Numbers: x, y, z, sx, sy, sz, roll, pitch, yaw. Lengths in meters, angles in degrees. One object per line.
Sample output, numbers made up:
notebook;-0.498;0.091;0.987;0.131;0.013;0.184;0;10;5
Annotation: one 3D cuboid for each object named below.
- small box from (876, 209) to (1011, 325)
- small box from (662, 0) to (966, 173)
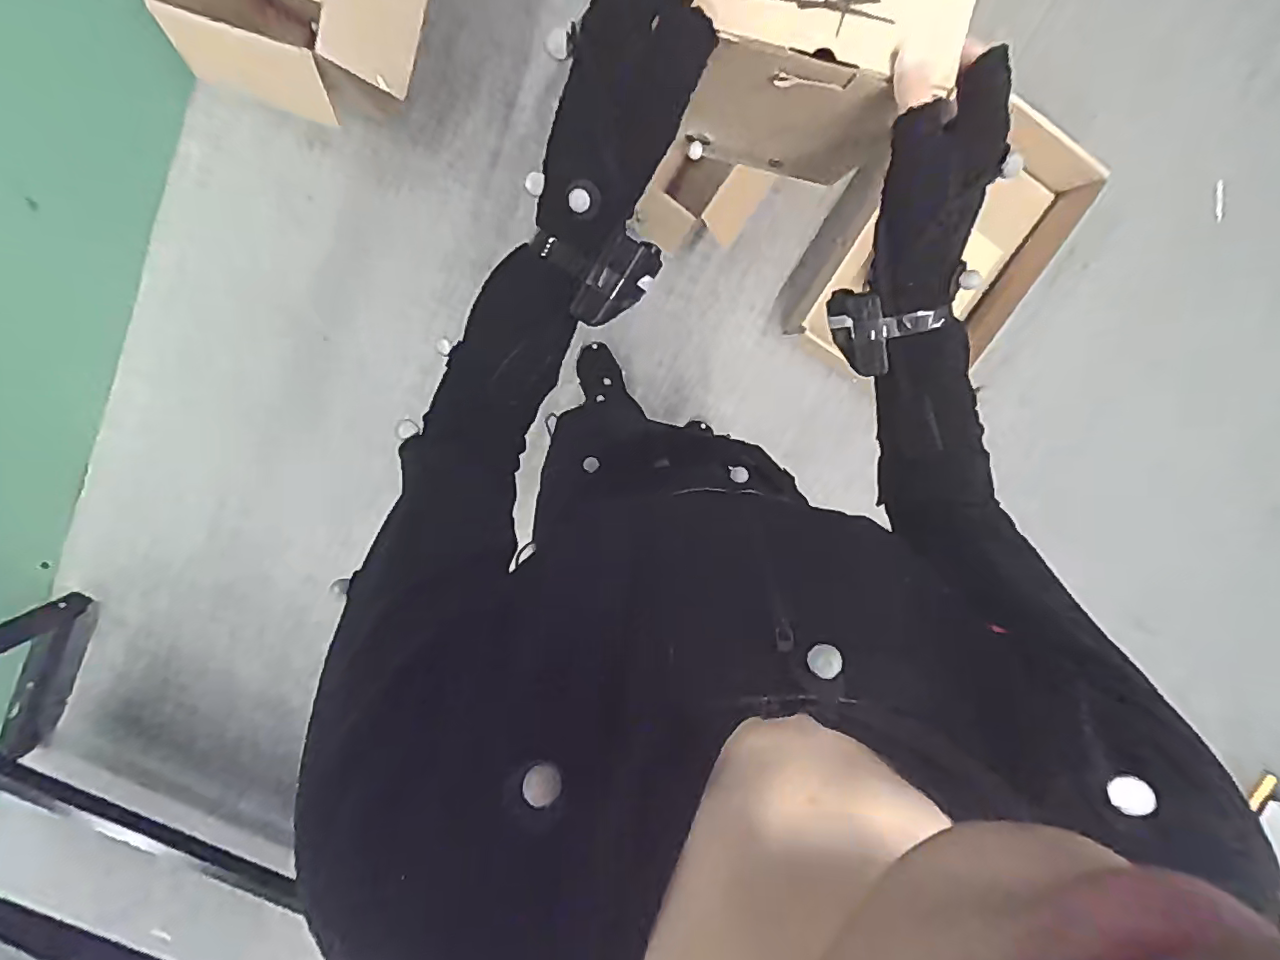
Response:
small box;0.675;-0.472;1.228;0.168;0.176;0.179;30;101;-7
small box;0.115;-0.349;0.382;0.168;0.176;0.179;10;99;-6
